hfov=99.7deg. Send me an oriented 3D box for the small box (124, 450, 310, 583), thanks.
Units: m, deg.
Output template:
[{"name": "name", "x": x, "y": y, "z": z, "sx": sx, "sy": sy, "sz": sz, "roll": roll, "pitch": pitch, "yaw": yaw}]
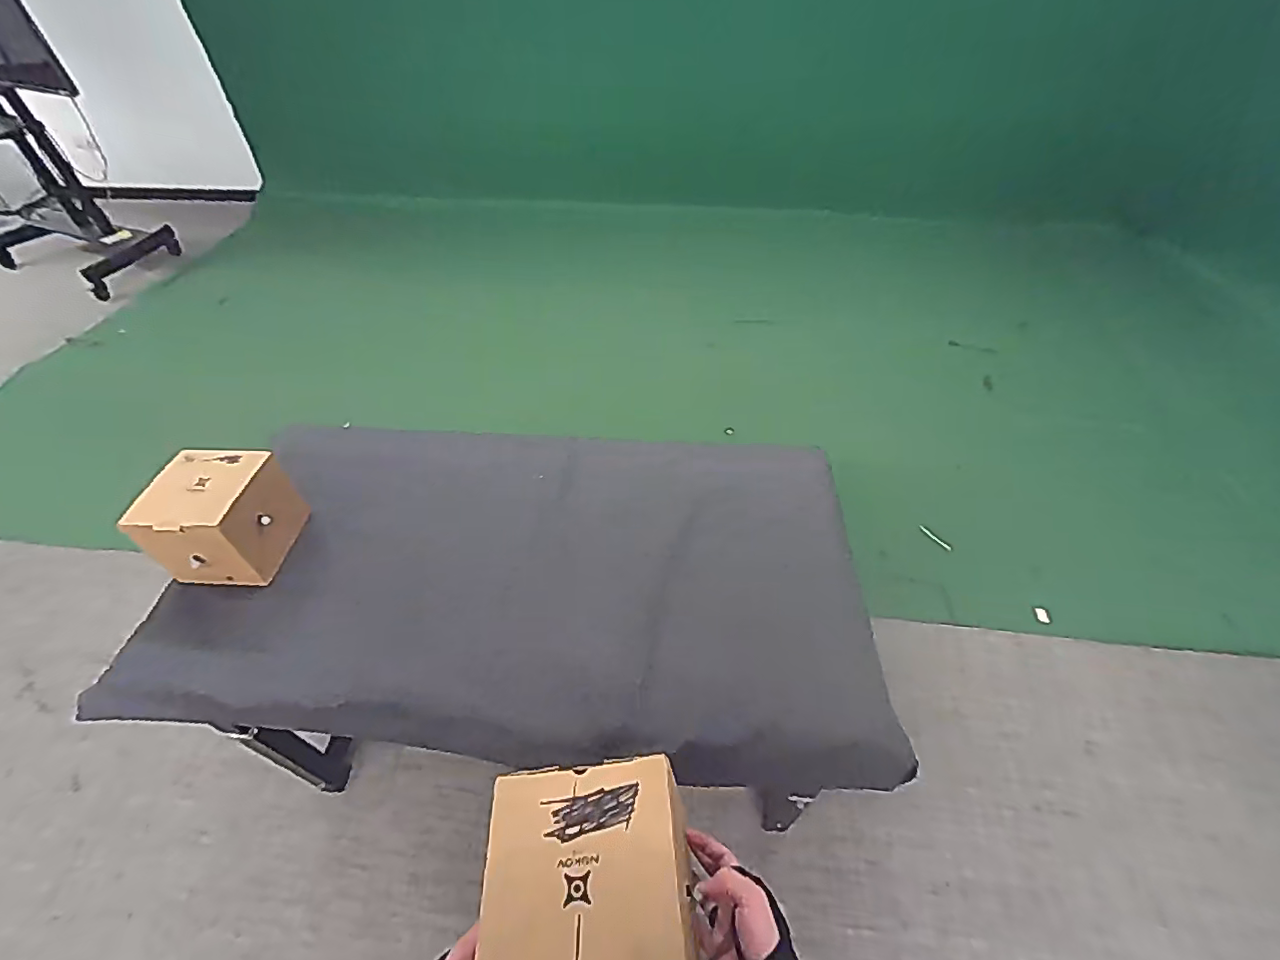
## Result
[{"name": "small box", "x": -0.732, "y": 0.068, "z": 0.966, "sx": 0.168, "sy": 0.176, "sz": 0.179, "roll": 2, "pitch": 48, "yaw": 1}]
